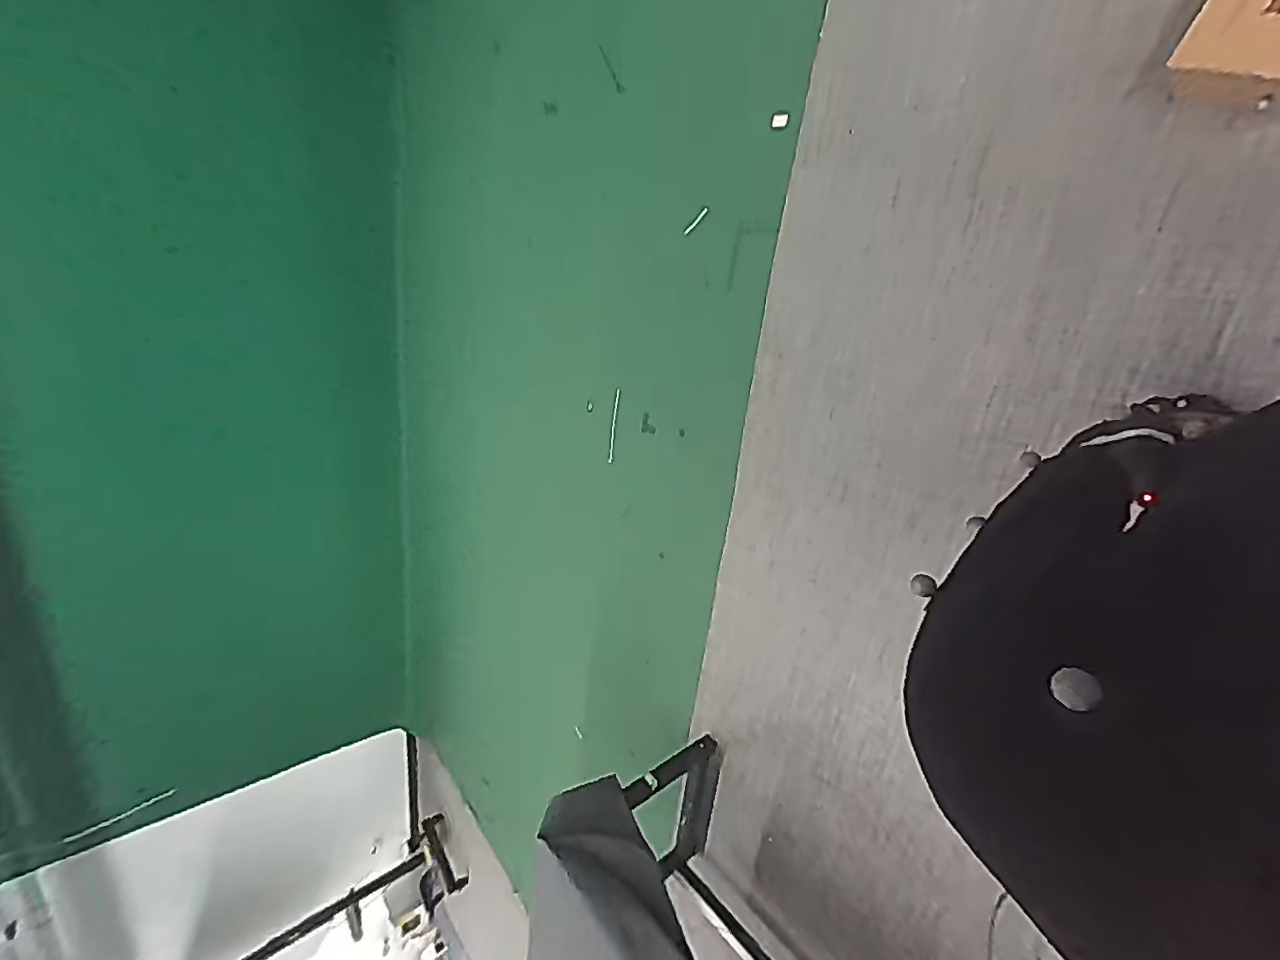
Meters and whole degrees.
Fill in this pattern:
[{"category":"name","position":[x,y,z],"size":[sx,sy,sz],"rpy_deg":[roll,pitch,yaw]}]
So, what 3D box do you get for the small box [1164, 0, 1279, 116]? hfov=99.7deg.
[{"category":"small box","position":[0.942,-0.659,0.793],"size":[0.179,0.176,0.168],"rpy_deg":[45,128,38]}]
